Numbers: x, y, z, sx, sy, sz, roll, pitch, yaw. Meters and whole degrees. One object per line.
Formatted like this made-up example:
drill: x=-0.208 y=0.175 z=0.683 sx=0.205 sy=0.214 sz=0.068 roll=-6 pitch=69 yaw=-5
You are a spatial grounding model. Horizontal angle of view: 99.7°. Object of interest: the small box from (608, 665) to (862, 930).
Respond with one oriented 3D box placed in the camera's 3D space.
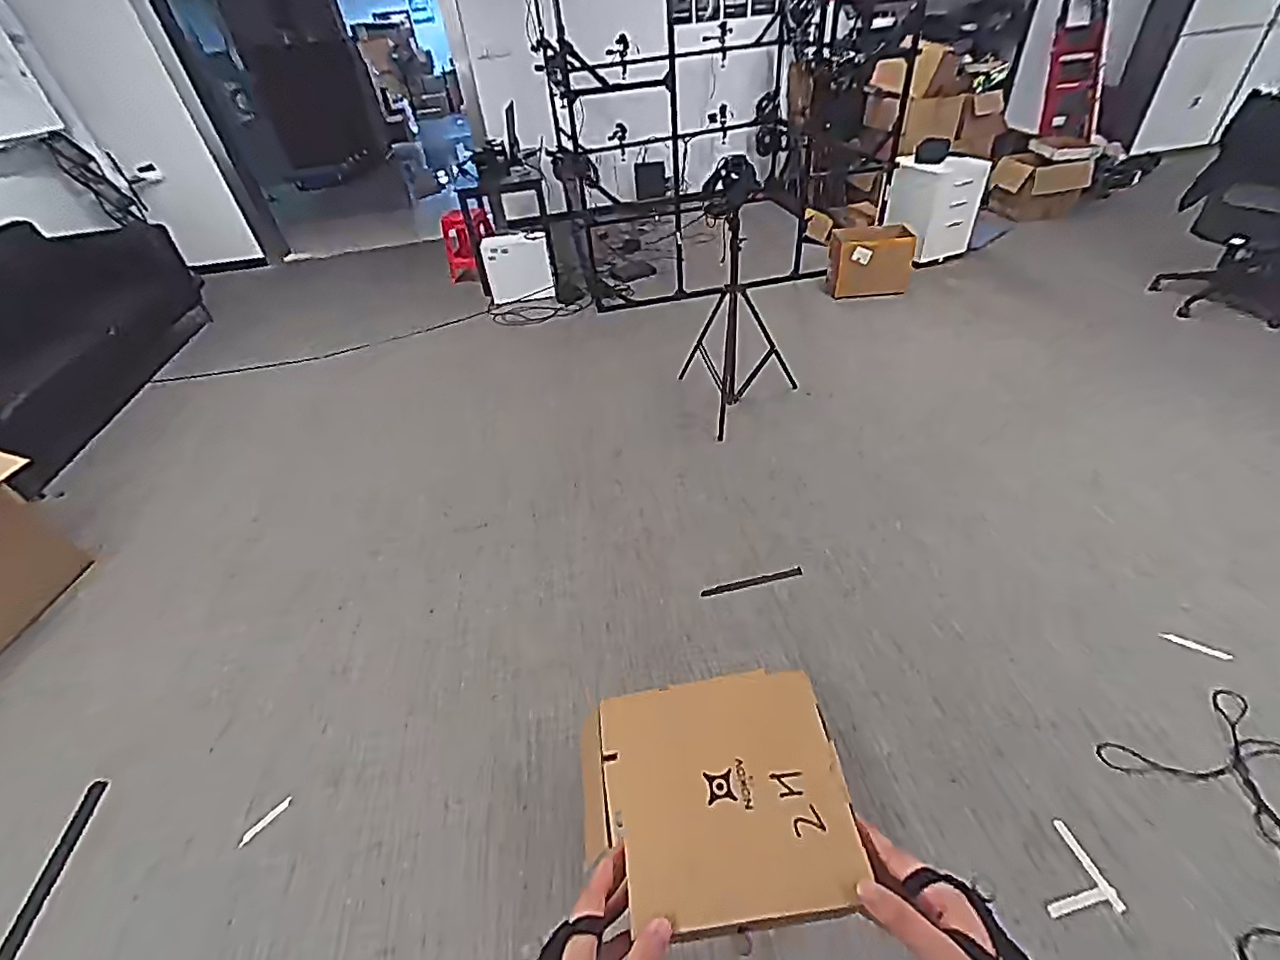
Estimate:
small box: x=0.073 y=0.291 z=0.491 sx=0.179 sy=0.176 sz=0.168 roll=-9 pitch=48 yaw=0
